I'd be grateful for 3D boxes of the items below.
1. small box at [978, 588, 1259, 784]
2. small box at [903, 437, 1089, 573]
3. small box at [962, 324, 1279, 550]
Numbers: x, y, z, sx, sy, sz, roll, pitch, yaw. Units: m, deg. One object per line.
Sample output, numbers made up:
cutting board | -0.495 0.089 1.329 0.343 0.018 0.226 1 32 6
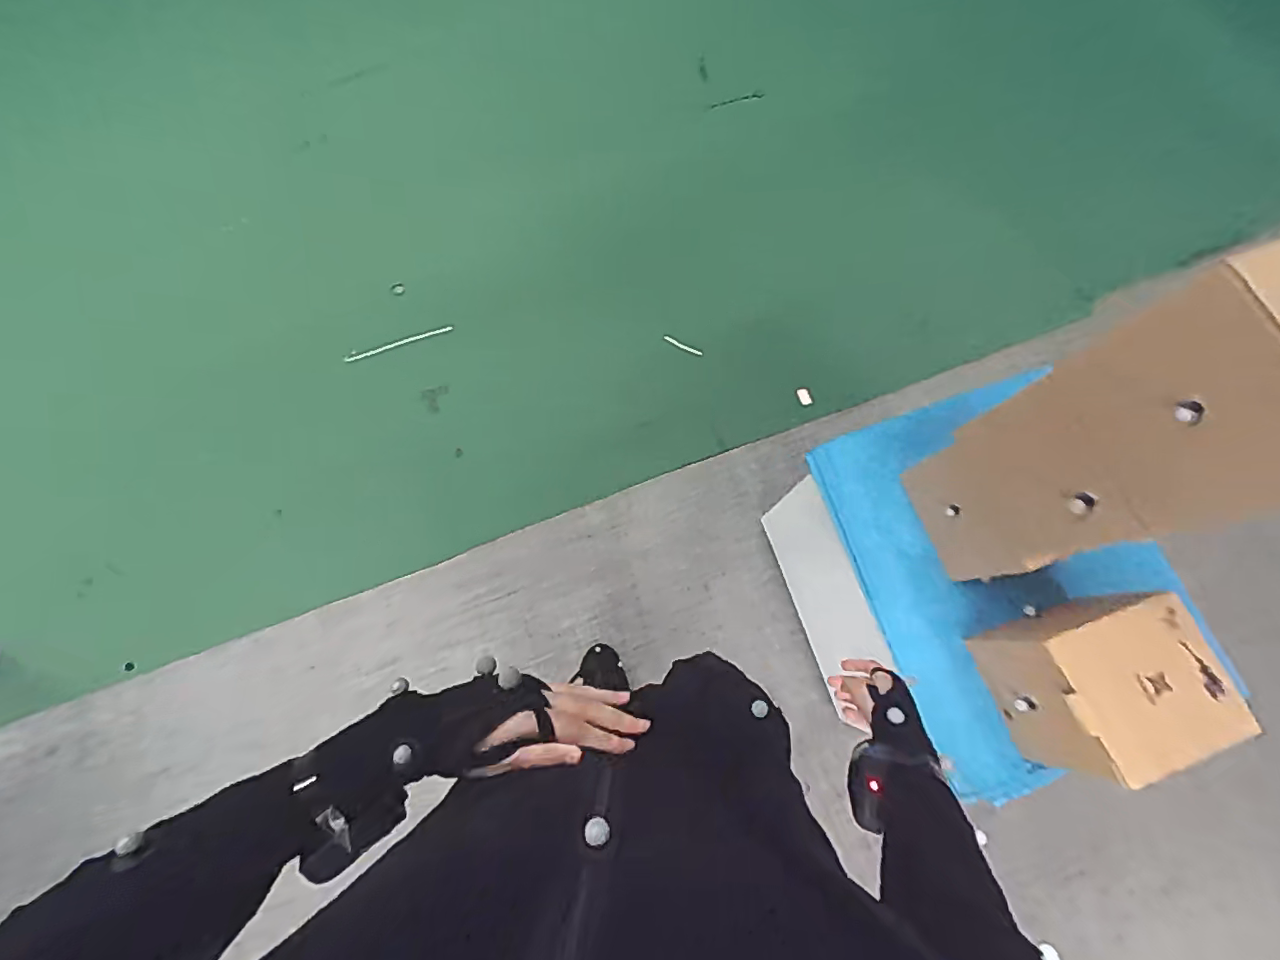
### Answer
small box | 0.567 0.248 0.677 0.179 0.176 0.168 -18 75 -5
small box | 0.504 0.021 0.741 0.168 0.176 0.179 -19 75 -6
small box | 0.501 -0.031 0.585 0.168 0.176 0.179 -19 75 -6
